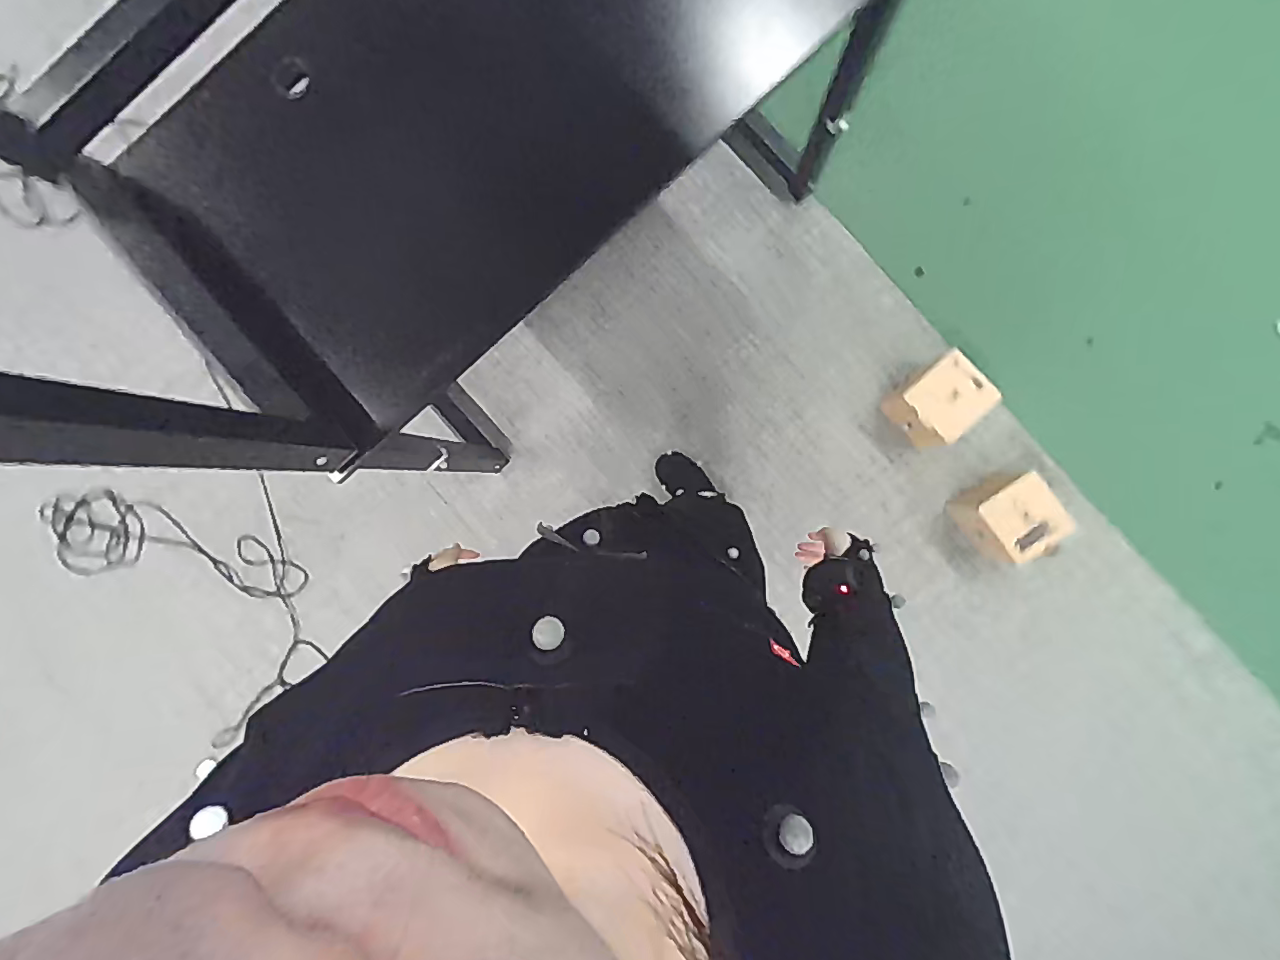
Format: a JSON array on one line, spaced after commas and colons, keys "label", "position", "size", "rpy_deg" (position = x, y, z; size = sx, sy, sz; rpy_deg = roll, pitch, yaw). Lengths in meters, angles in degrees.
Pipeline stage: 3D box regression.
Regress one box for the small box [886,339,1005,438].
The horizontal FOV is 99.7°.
[{"label": "small box", "position": [0.754, -0.220, 1.365], "size": [0.179, 0.176, 0.168], "rpy_deg": [-43, 88, 4]}]
